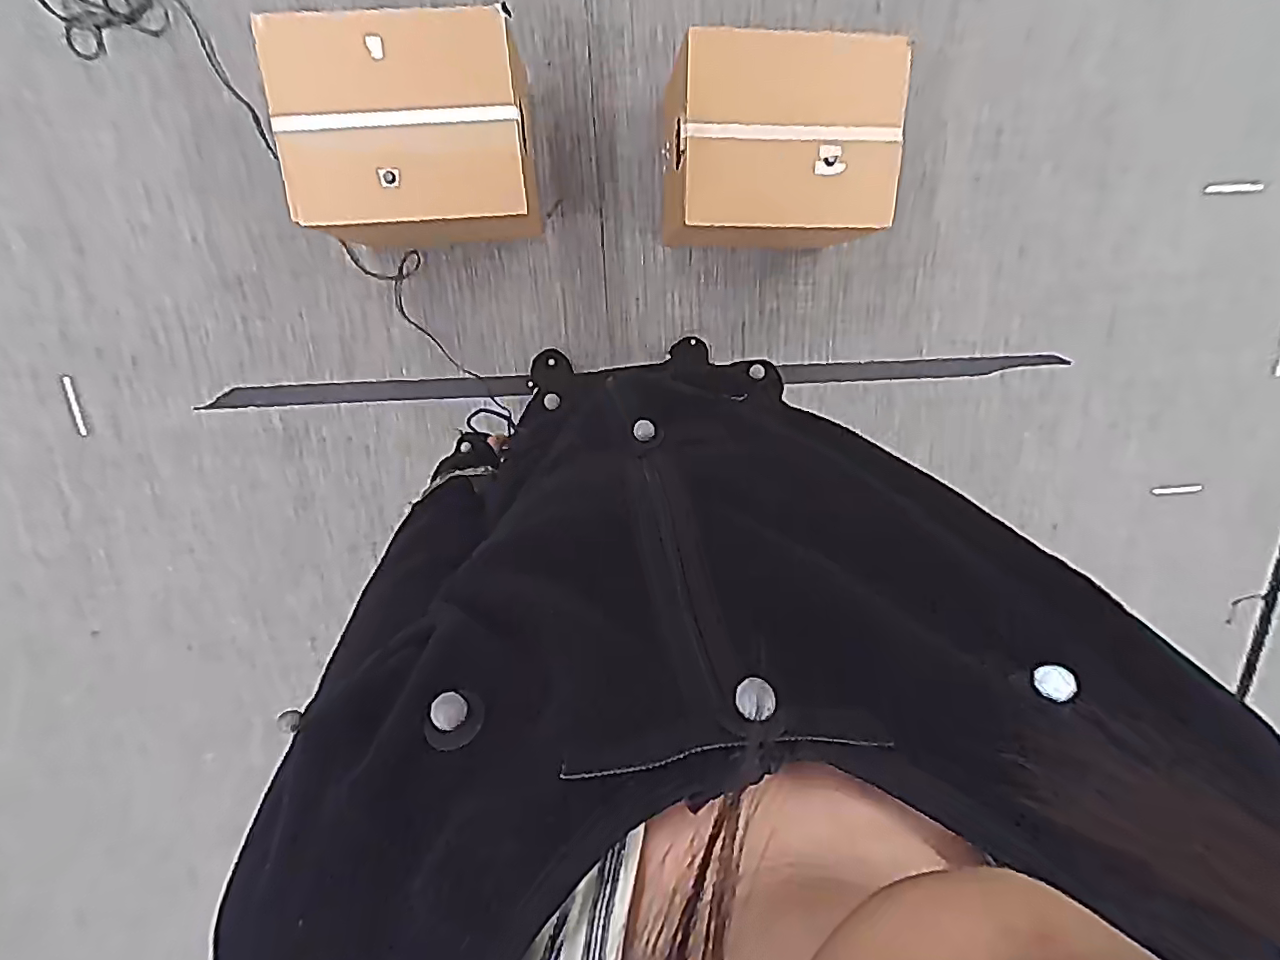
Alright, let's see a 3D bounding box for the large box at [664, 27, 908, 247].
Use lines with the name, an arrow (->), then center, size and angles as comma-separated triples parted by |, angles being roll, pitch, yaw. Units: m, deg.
large box -> 0.267, -0.674, 1.126 | 0.408, 0.320, 0.320 | -1, 107, -6
